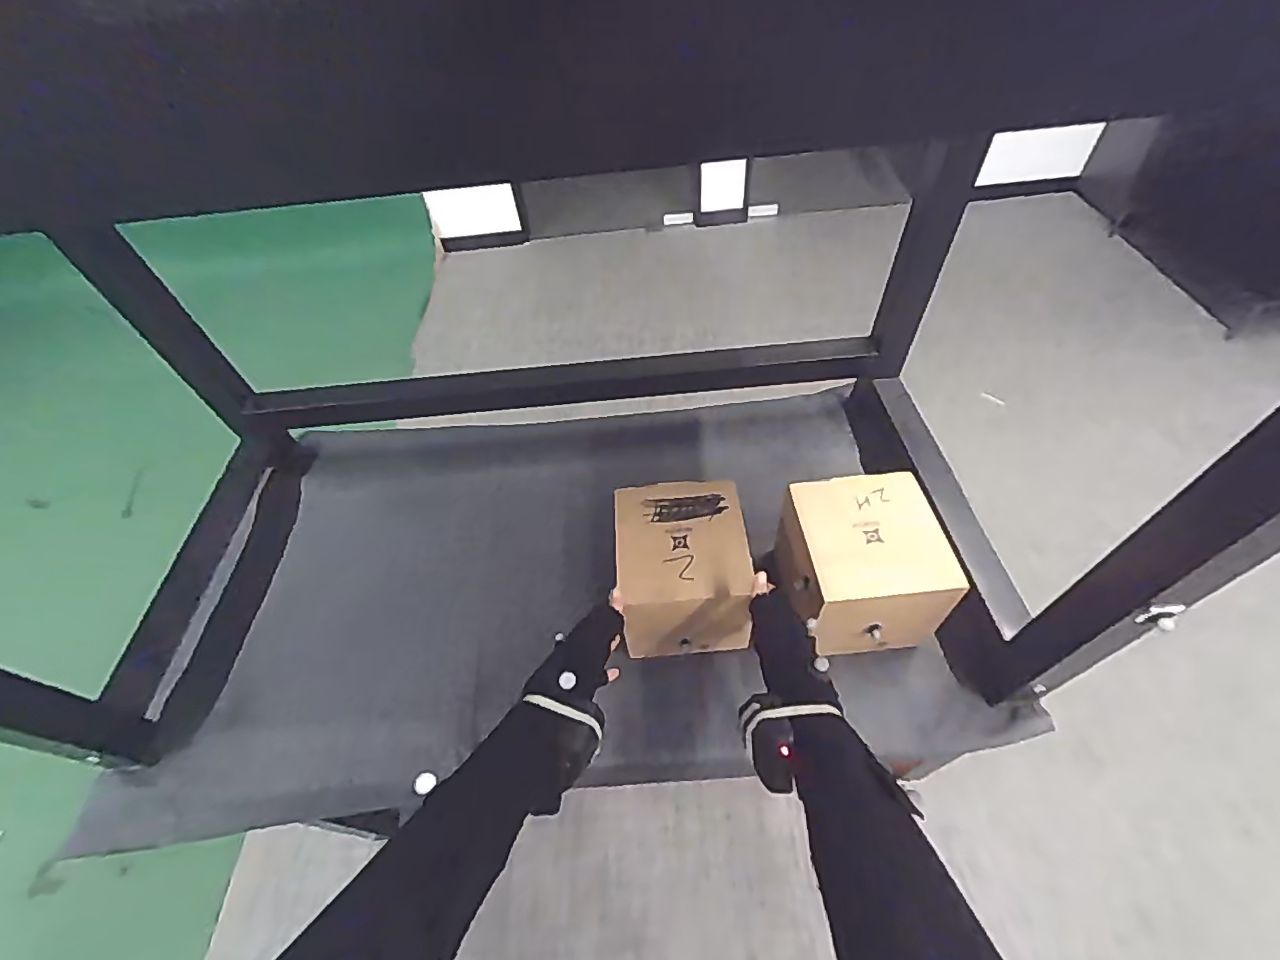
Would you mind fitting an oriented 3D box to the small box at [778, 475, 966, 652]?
[{"bbox_3d":[0.291,0.119,0.726,0.168,0.176,0.179,-6,50,1],"label":"small box"}]
